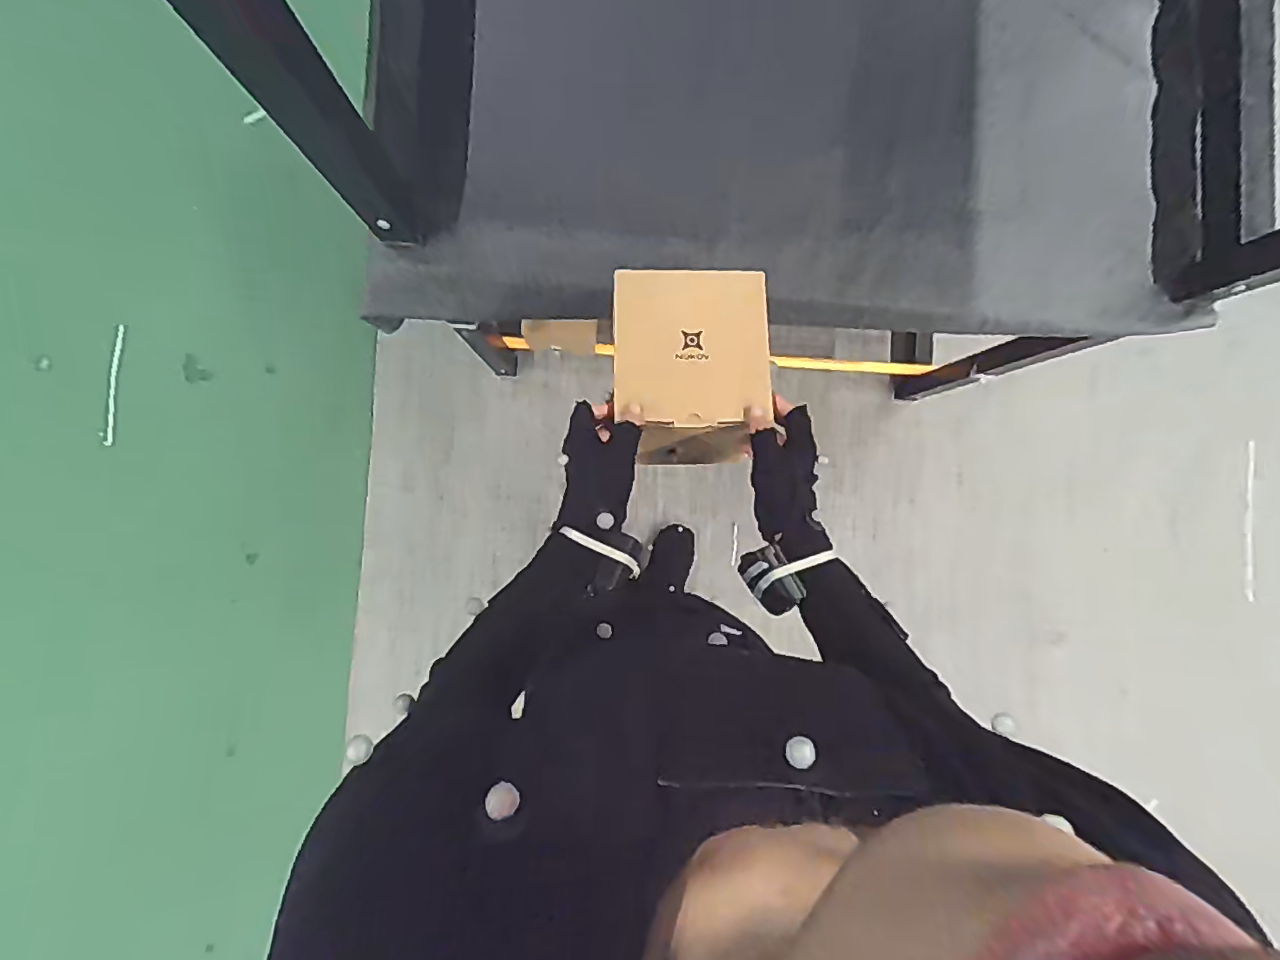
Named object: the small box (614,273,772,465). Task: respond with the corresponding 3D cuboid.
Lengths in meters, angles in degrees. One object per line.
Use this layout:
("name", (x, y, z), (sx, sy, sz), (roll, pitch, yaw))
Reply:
("small box", (0.053, -0.124, 0.653), (0.168, 0.176, 0.179), (0, 78, -2))

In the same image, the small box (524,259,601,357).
("small box", (-0.179, -0.404, 1.292), (0.168, 0.176, 0.179), (2, 90, -3))
